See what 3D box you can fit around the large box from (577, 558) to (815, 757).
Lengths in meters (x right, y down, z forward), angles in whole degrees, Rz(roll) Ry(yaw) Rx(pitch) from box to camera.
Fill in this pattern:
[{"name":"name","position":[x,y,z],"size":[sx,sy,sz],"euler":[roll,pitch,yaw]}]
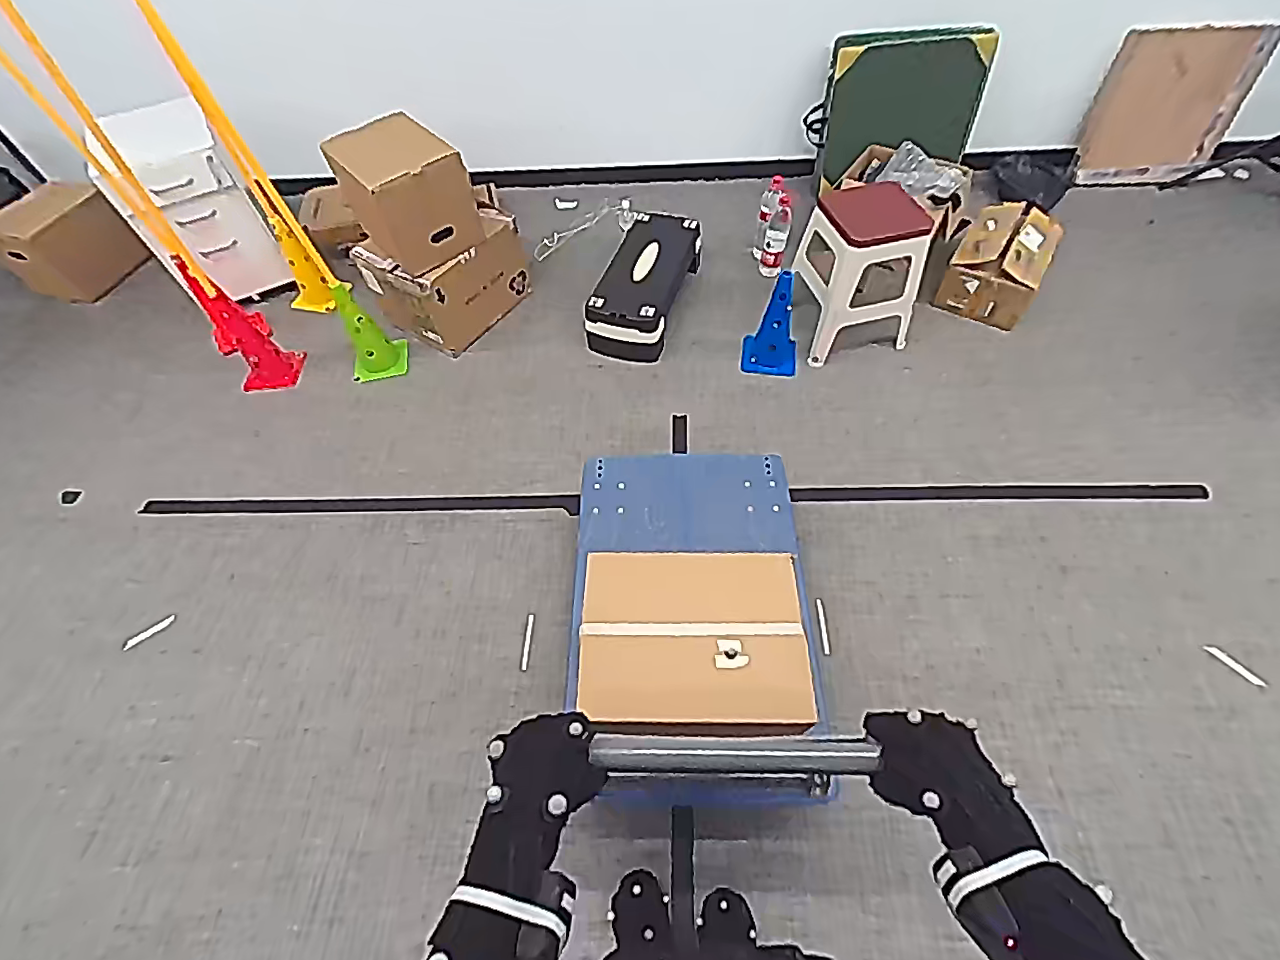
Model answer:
[{"name":"large box","position":[0.093,0.367,1.098],"size":[0.408,0.320,0.320],"euler":[0,56,1]}]
